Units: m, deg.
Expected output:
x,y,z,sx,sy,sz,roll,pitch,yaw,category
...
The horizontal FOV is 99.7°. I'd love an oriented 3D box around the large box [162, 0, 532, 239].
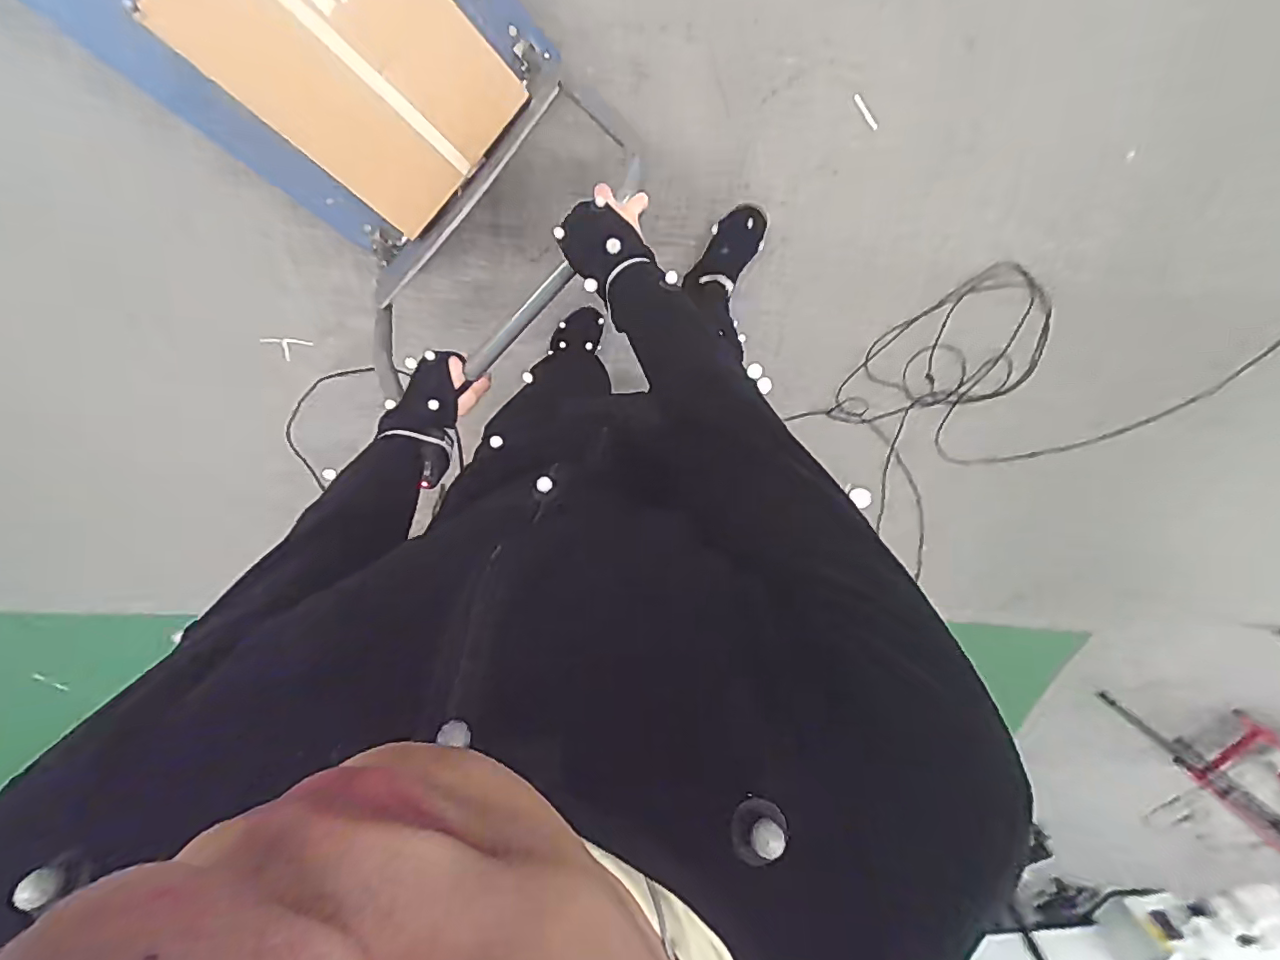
x,y,z,sx,sy,sz,roll,pitch,yaw,category
-0.444,-0.704,0.909,0.320,0.320,0.408,-41,131,17,large box
